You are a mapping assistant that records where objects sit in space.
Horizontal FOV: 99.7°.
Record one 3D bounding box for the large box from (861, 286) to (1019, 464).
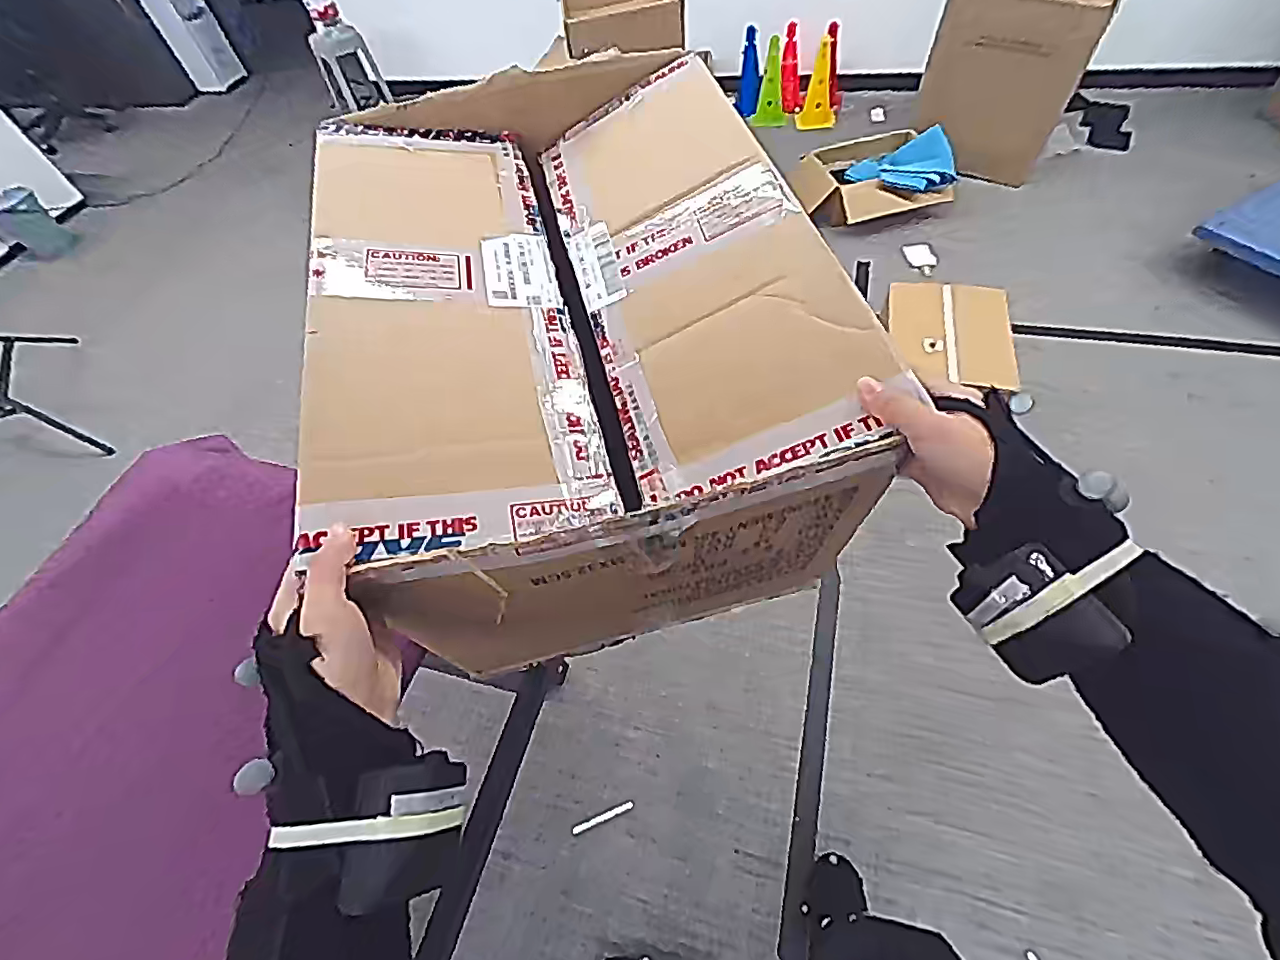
[{"bbox_3d":[0.849,-0.309,1.593,0.320,0.320,0.408,8,58,13],"label":"large box"}]
